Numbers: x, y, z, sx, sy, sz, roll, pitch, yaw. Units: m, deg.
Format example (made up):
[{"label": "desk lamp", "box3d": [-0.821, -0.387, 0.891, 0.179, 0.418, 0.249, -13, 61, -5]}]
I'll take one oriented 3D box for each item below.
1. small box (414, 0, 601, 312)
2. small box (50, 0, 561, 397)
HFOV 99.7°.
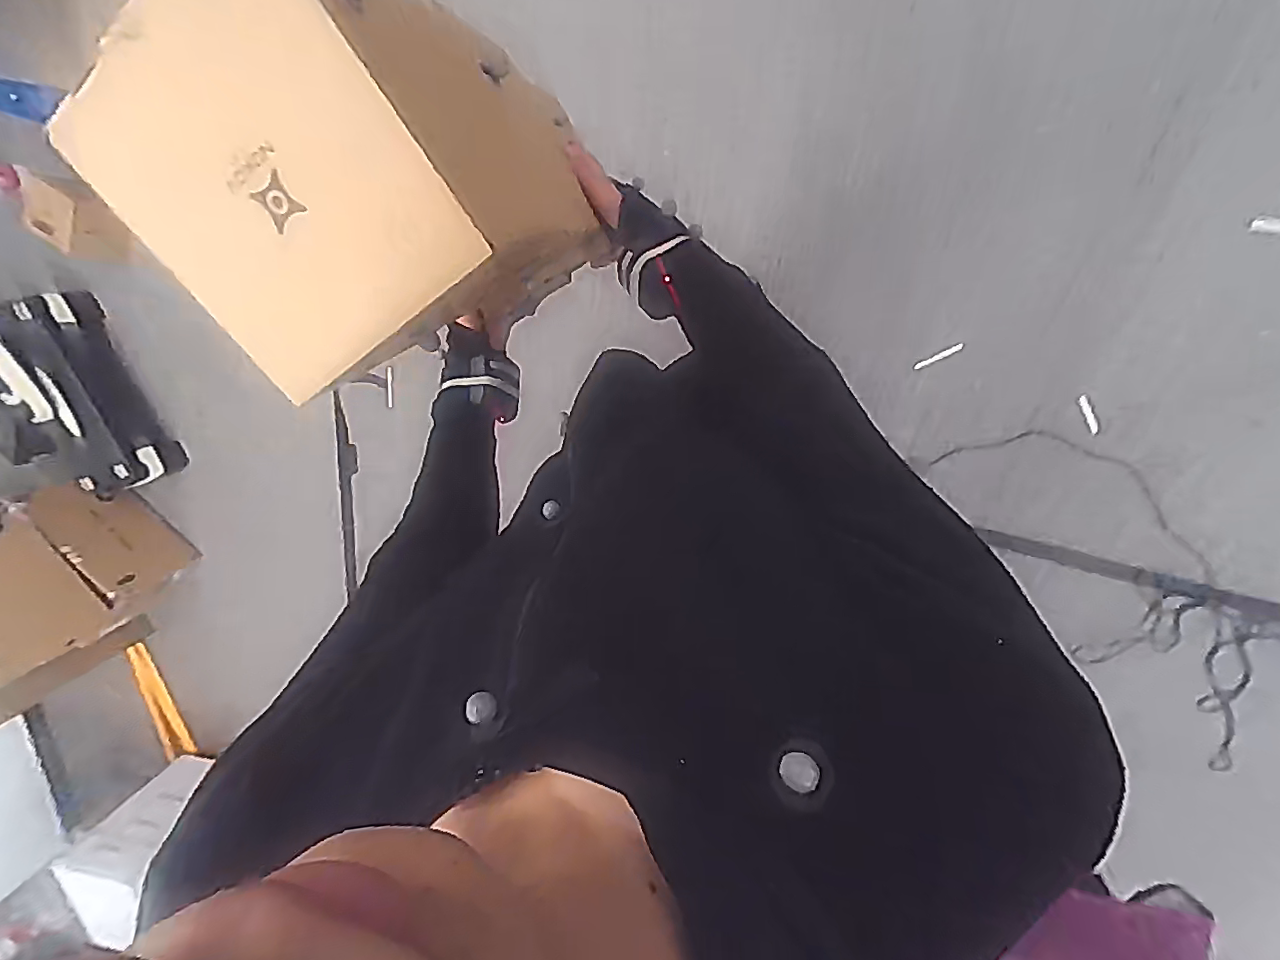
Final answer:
[{"label": "small box", "box3d": [-0.155, -0.265, 0.484, 0.168, 0.176, 0.179, -25, 112, 19]}, {"label": "small box", "box3d": [-0.174, -0.186, 0.343, 0.168, 0.176, 0.179, -28, 110, 20]}]
